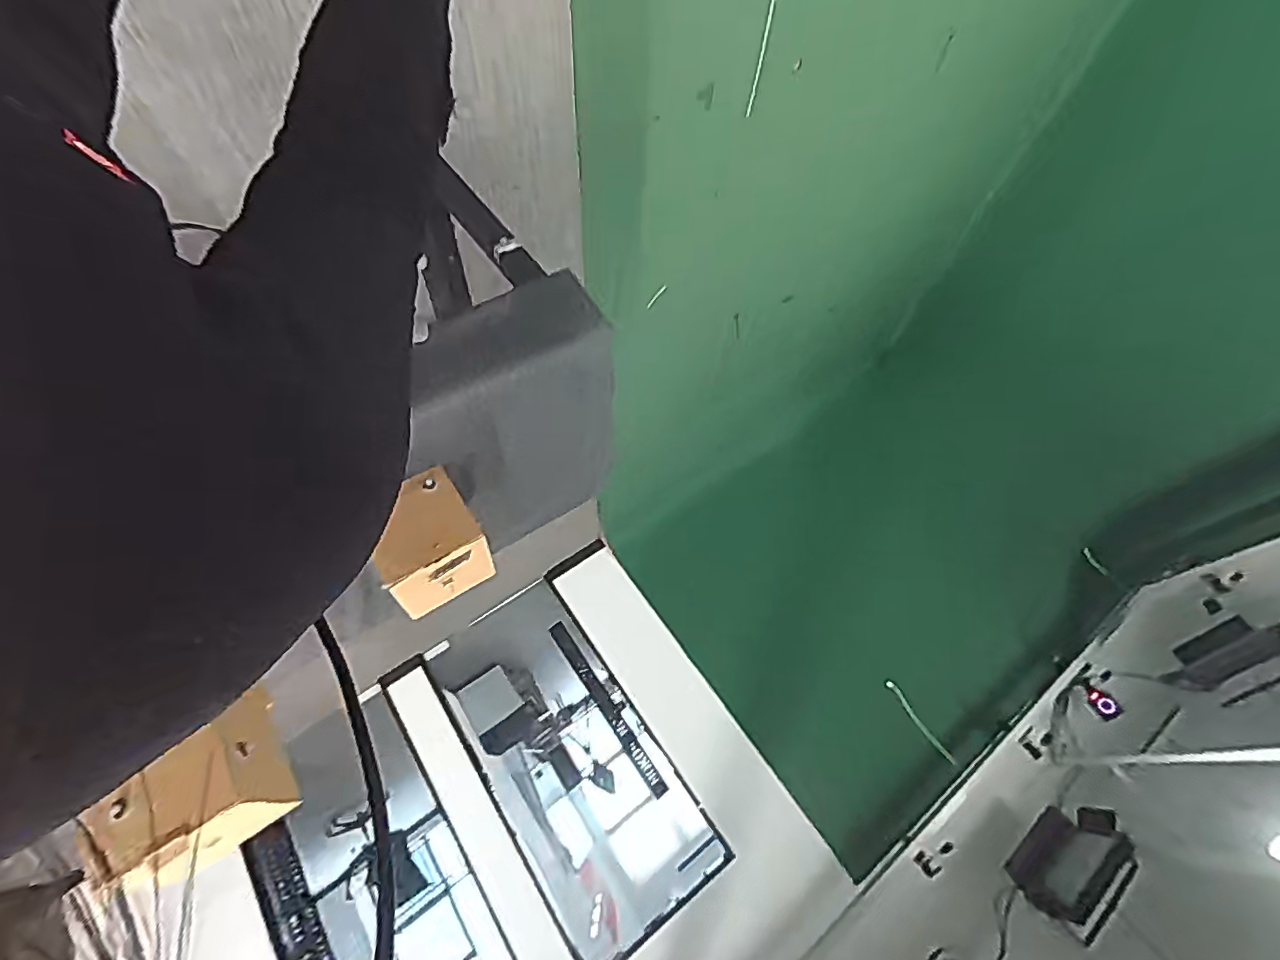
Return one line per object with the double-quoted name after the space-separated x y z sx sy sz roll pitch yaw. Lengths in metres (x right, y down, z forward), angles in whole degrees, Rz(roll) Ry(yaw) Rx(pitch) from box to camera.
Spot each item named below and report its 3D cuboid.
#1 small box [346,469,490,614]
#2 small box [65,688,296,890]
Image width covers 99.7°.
-0.388 0.103 0.958 0.168 0.176 0.179 -29 158 -23 "small box"
-0.626 0.413 0.748 0.168 0.176 0.179 -30 158 -20 "small box"
